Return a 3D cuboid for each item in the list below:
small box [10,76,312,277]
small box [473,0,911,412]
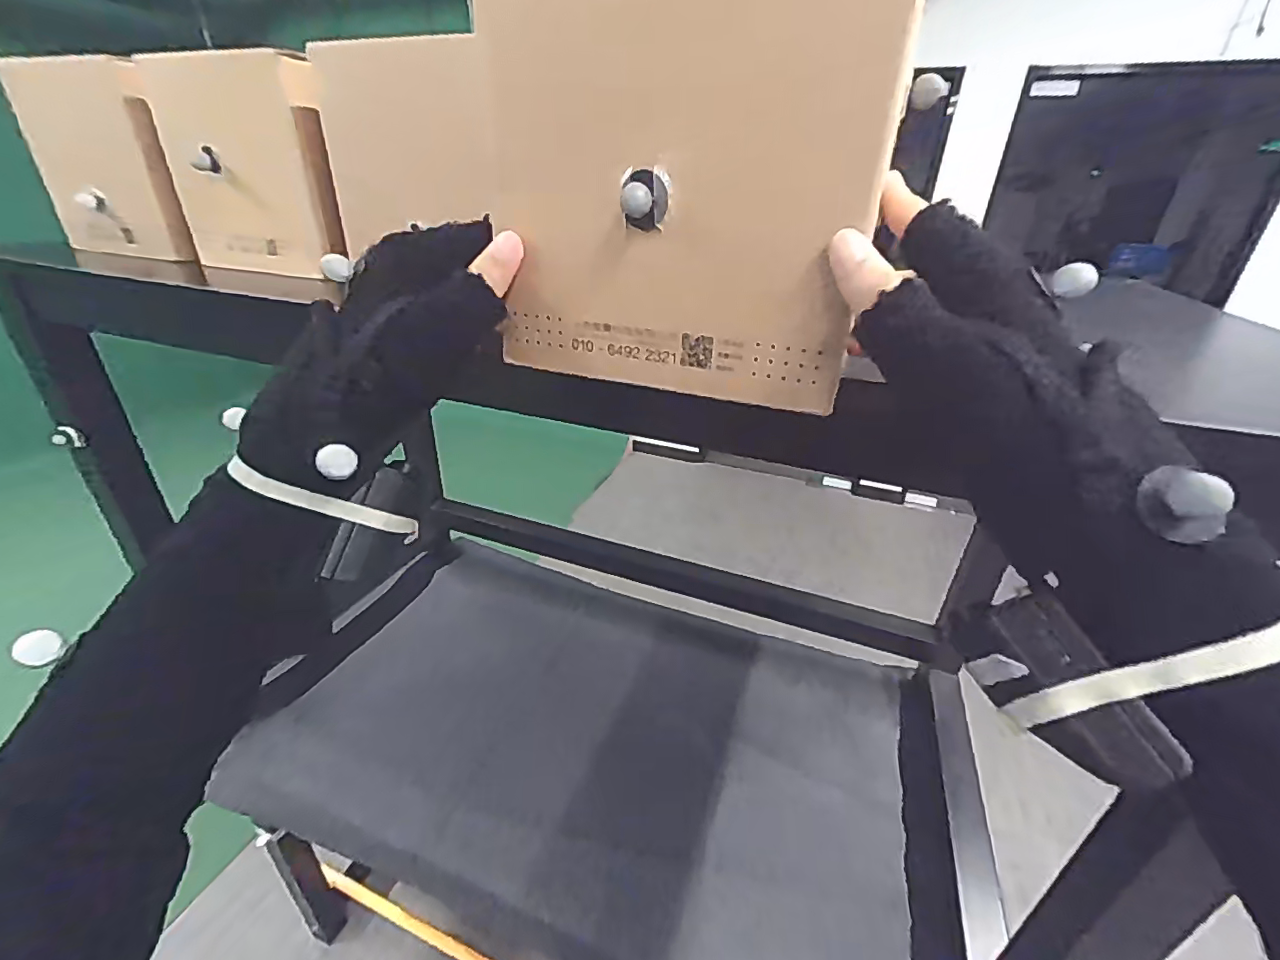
[{"bbox_3d":[-0.502,-0.331,0.601,0.168,0.176,0.179,11,30,17],"label":"small box"},{"bbox_3d":[0.038,-0.148,0.294,0.168,0.176,0.179,13,30,18],"label":"small box"}]
